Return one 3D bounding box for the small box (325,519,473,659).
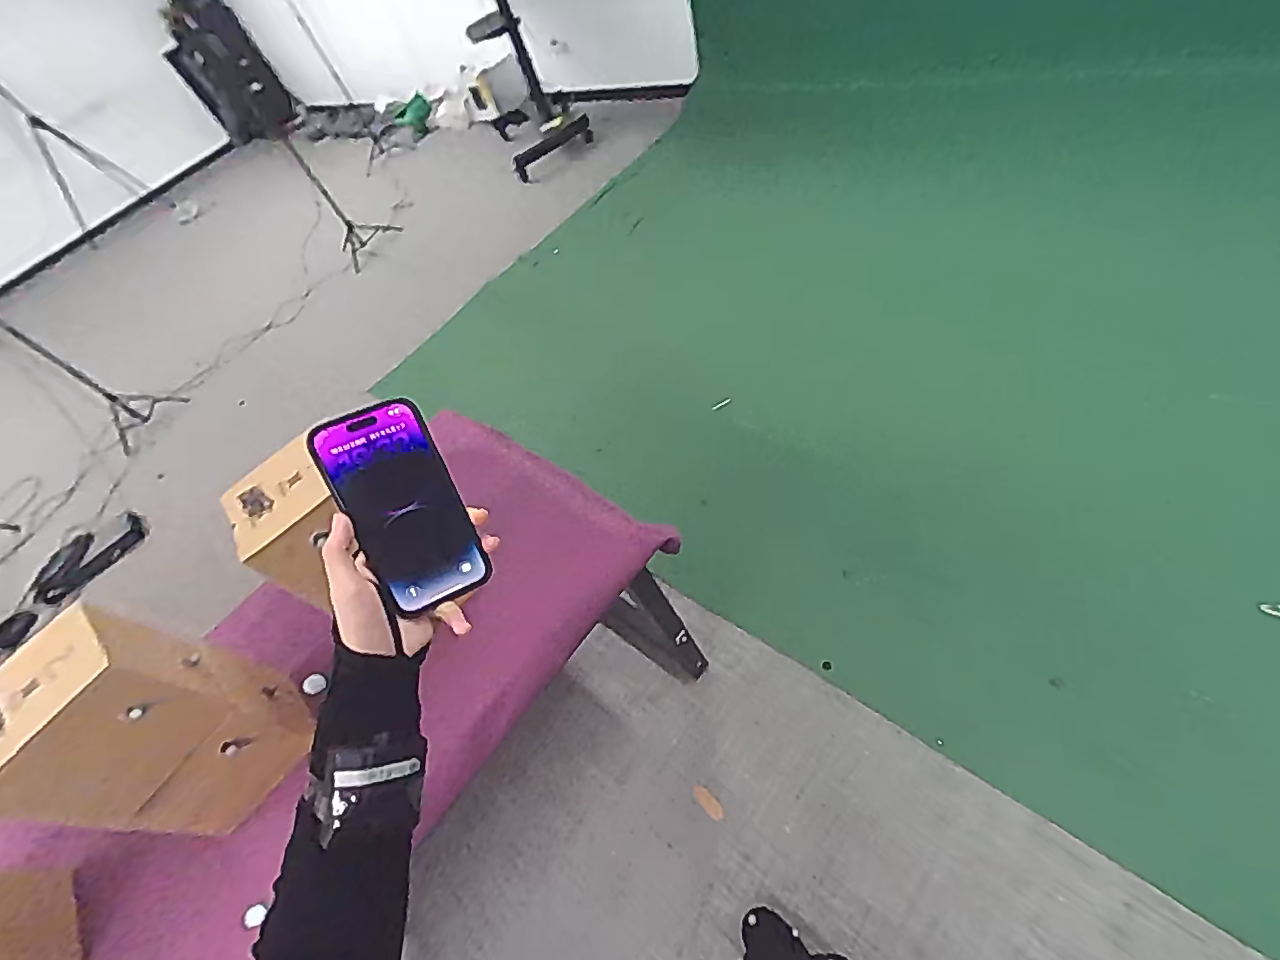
[{"bbox_3d":[-0.403,0.158,0.891,0.179,0.176,0.168,-44,51,-13],"label":"small box"}]

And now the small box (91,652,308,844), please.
[{"bbox_3d":[-0.629,0.393,0.794,0.168,0.176,0.179,28,68,36],"label":"small box"}]

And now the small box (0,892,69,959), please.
[{"bbox_3d":[-0.892,0.663,0.688,0.179,0.176,0.168,29,68,36],"label":"small box"}]

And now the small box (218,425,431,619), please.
[{"bbox_3d":[-0.435,0.062,0.761,0.179,0.176,0.168,-43,50,-15],"label":"small box"}]
